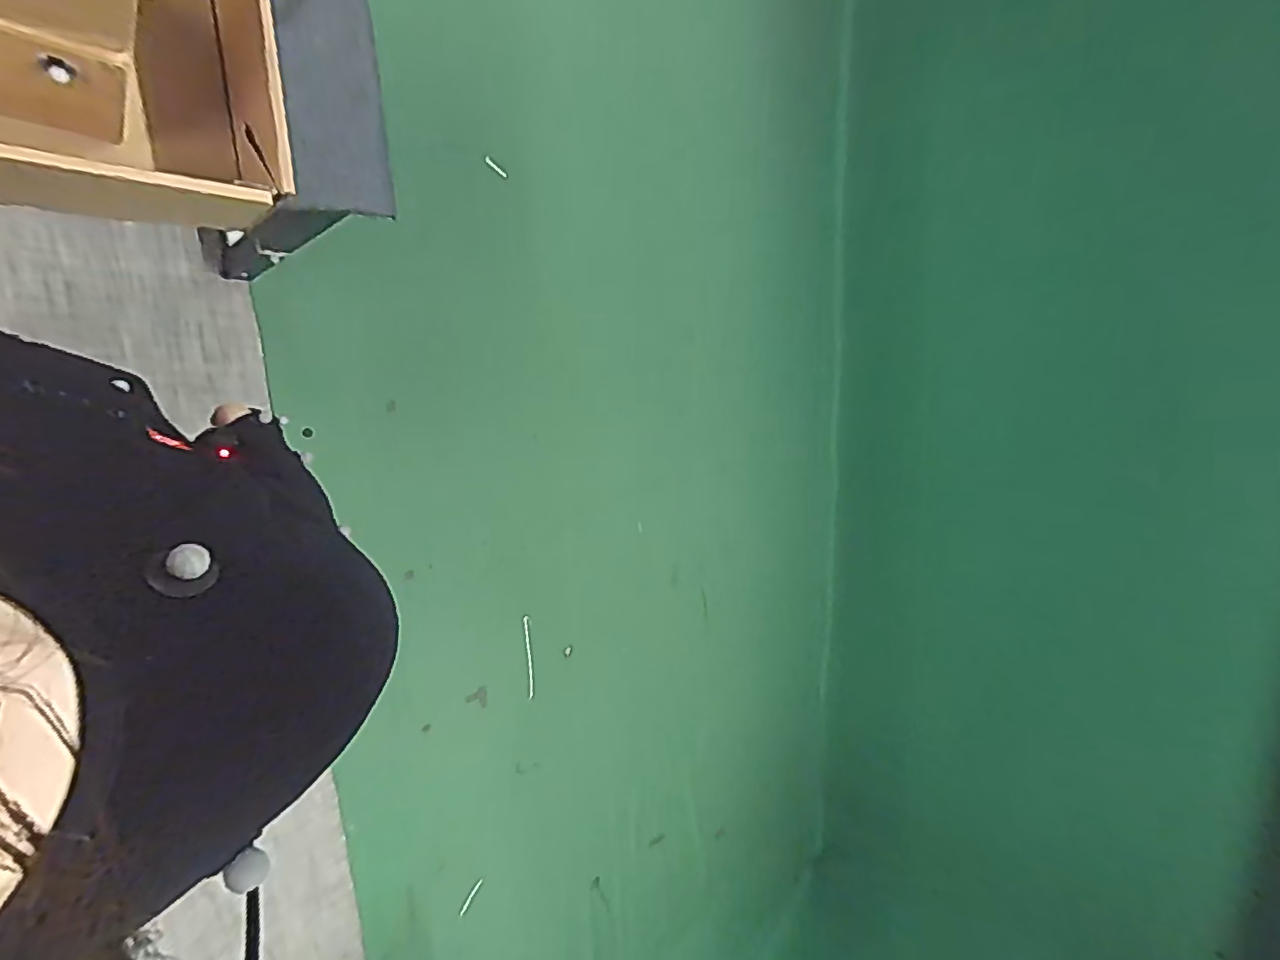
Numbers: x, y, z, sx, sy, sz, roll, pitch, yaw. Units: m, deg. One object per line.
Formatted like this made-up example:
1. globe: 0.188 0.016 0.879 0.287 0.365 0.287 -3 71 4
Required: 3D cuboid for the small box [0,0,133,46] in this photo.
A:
1. small box: -0.398 -0.381 0.286 0.179 0.176 0.168 -14 106 -45
